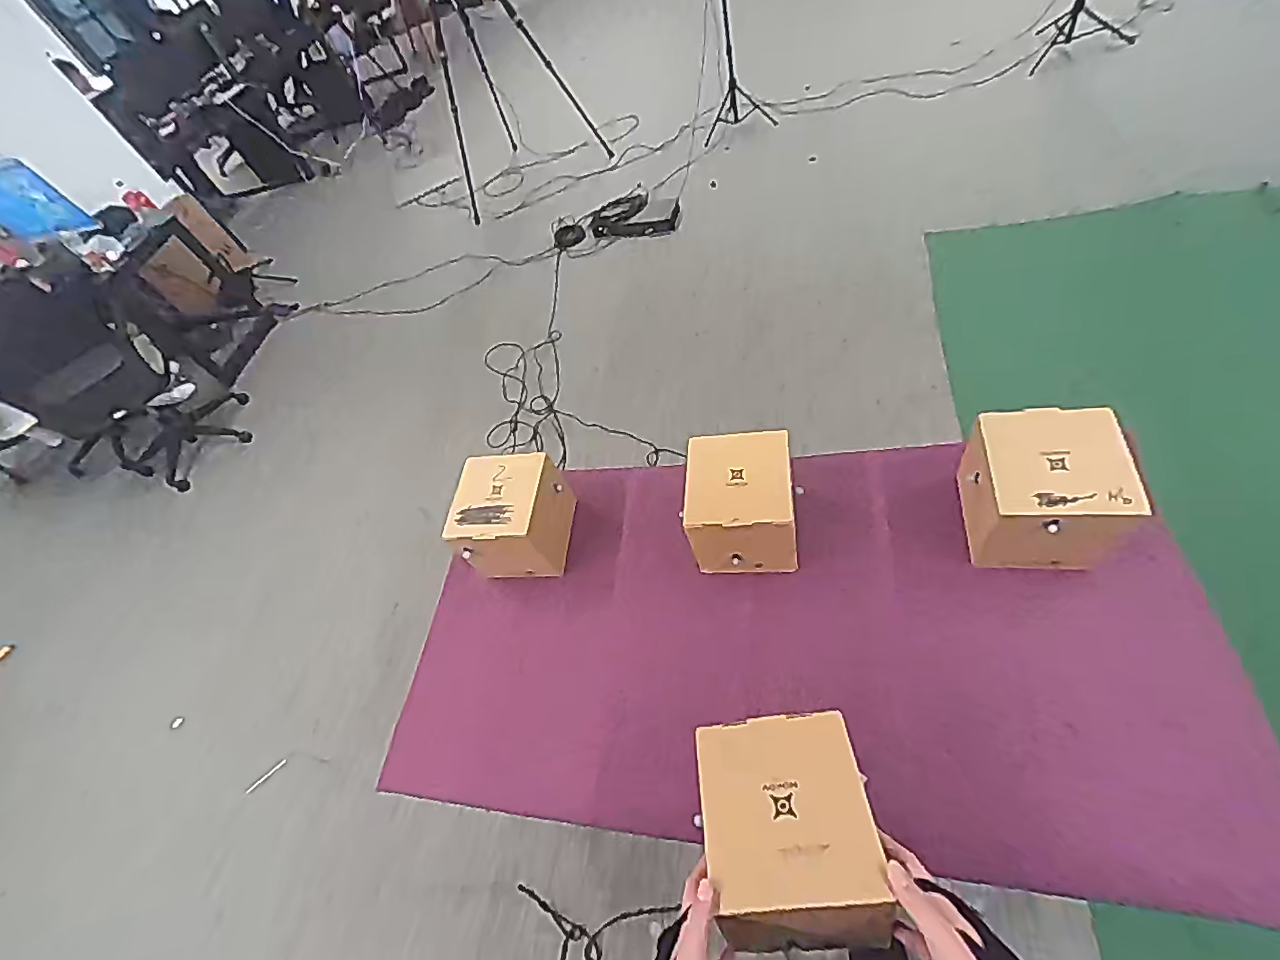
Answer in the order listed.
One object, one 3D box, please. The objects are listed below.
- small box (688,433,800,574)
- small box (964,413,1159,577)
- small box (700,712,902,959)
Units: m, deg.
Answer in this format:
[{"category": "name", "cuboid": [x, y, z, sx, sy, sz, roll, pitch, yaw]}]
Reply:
[{"category": "small box", "cuboid": [0.179, 0.043, 0.910, 0.168, 0.176, 0.179, -3, 56, 15]}, {"category": "small box", "cuboid": [0.591, 0.024, 0.790, 0.168, 0.176, 0.179, -1, 56, 19]}, {"category": "small box", "cuboid": [0.162, 0.381, 0.582, 0.168, 0.176, 0.179, -10, 38, 8]}]
